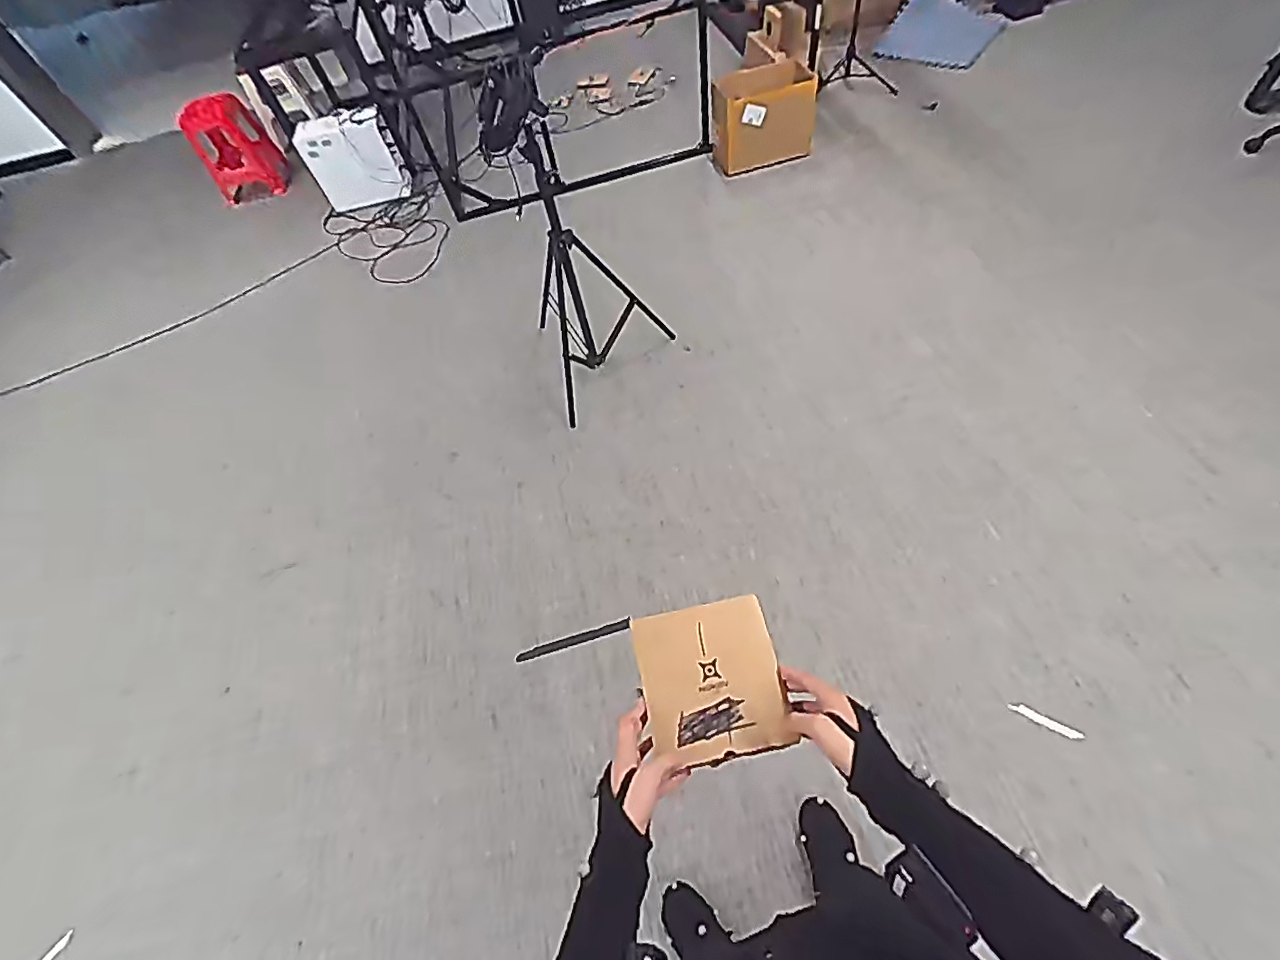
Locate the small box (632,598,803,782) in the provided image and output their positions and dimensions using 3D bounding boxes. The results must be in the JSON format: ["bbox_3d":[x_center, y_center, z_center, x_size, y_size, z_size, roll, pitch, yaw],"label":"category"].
[{"bbox_3d":[0.090,0.271,0.695,0.168,0.176,0.179,-12,63,-3],"label":"small box"}]
